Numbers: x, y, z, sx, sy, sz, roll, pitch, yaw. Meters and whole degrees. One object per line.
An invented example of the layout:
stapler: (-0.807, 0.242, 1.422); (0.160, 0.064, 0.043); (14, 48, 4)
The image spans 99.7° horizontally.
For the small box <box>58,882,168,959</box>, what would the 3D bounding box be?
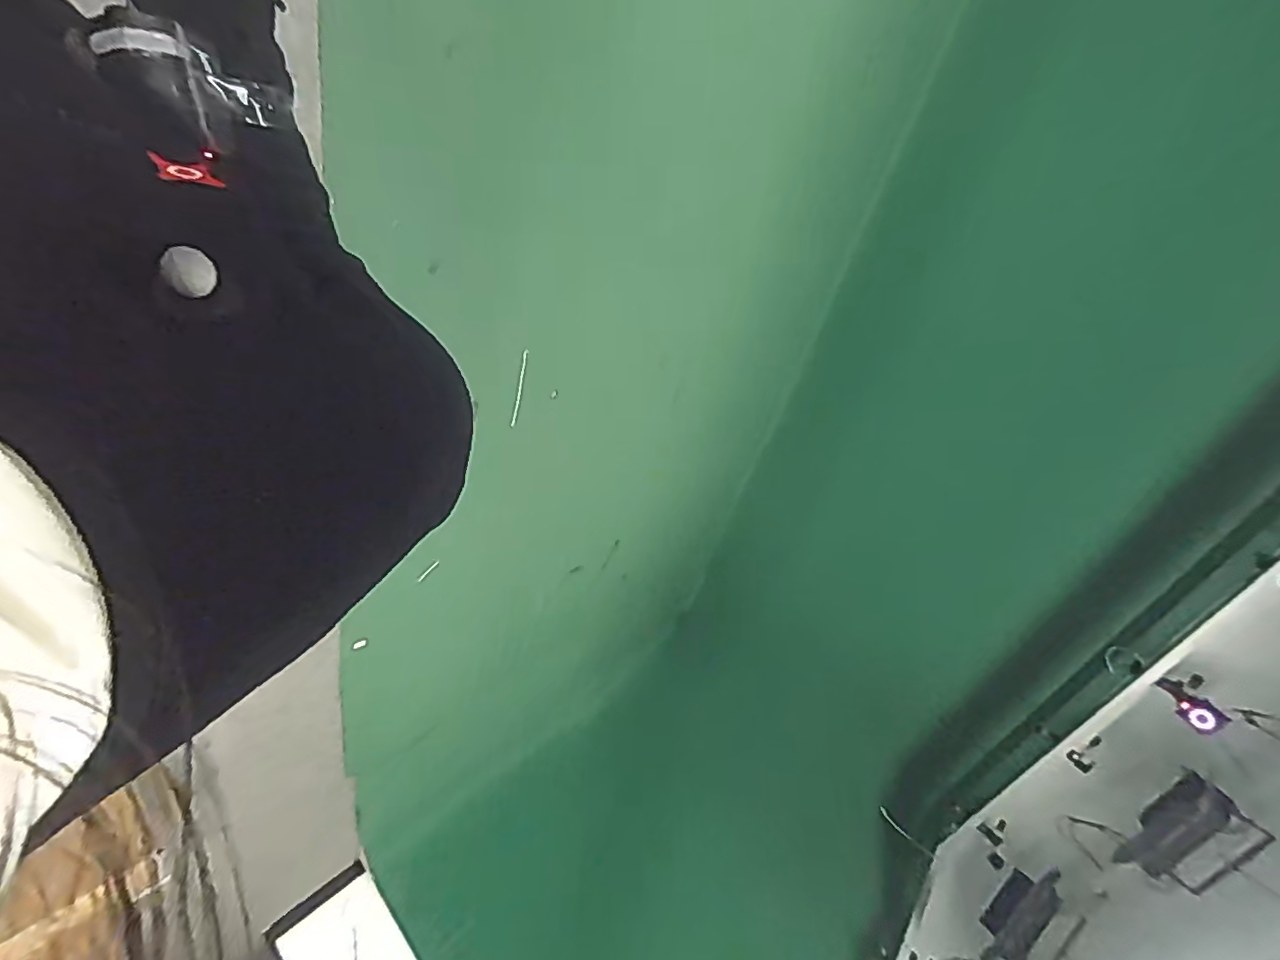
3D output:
small box: (-1.437, 1.265, 1.474); (0.179, 0.176, 0.168); (-23, 134, -43)
